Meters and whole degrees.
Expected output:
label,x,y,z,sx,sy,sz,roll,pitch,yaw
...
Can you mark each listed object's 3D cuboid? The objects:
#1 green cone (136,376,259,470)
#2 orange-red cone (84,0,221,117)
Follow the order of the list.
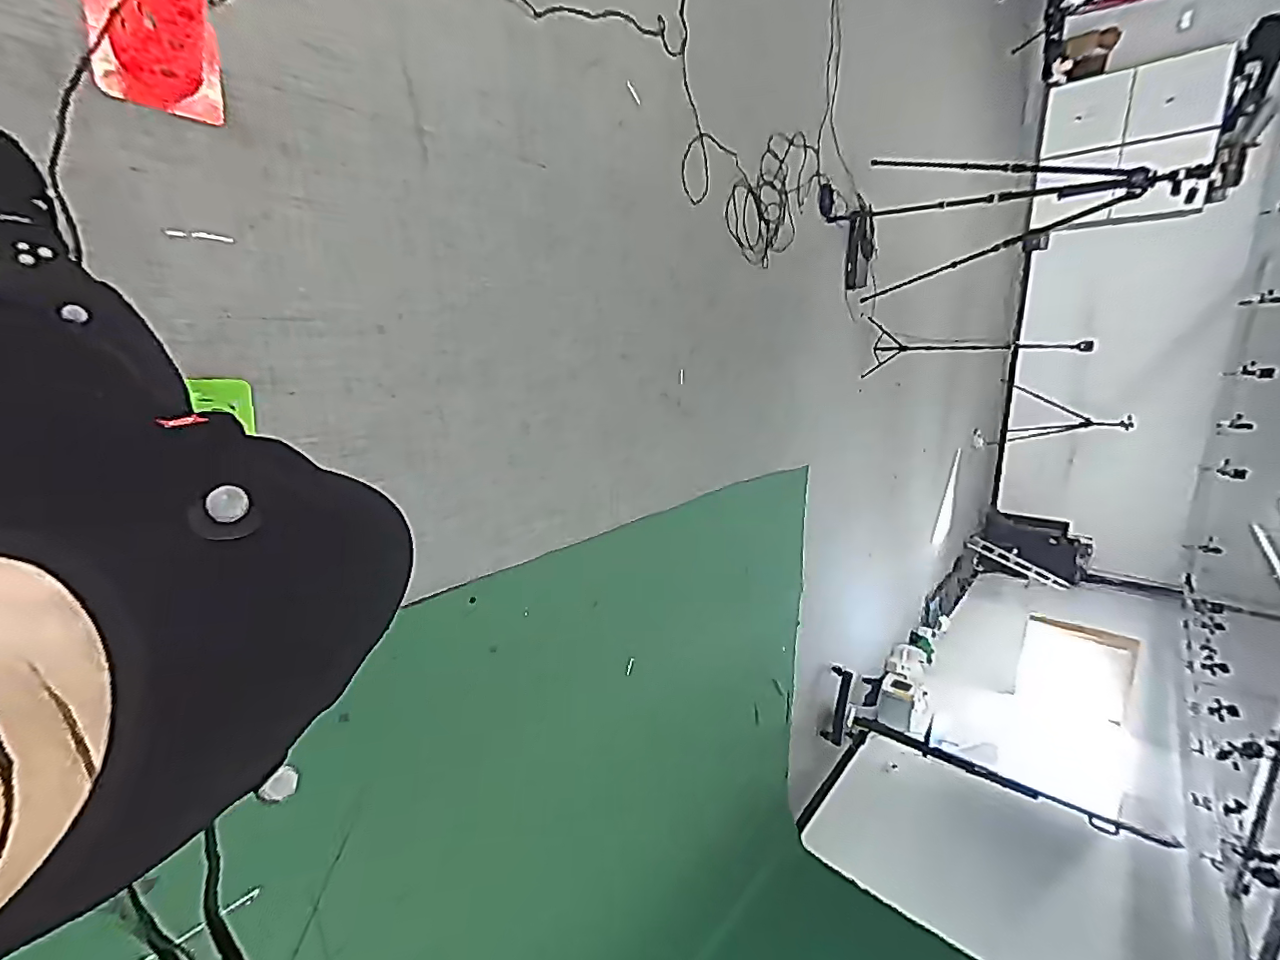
label,x,y,z,sx,sy,sz,roll,pitch,yaw
green cone,-0.849,-0.106,1.094,0.200,0.368,0.202,-12,107,-47
orange-red cone,-0.830,-0.824,0.955,0.198,0.360,0.199,-8,106,-47
